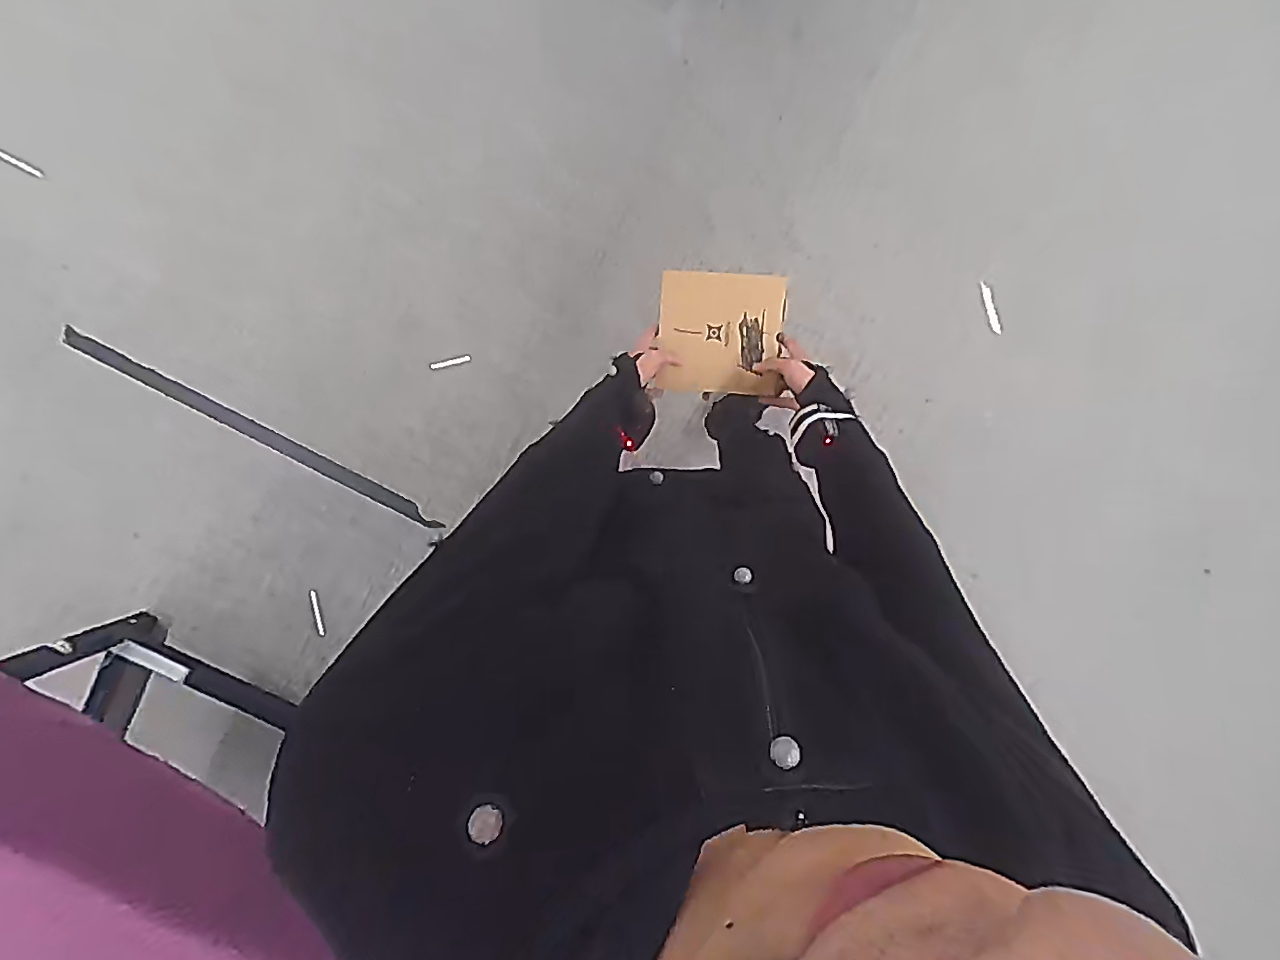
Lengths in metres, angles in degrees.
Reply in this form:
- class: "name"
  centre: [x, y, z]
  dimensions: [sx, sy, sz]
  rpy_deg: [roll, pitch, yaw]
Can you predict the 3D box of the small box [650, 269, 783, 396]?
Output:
- class: "small box"
  centre: [0.110, -0.223, 0.835]
  dimensions: [0.179, 0.176, 0.168]
  rpy_deg: [4, 102, 3]
